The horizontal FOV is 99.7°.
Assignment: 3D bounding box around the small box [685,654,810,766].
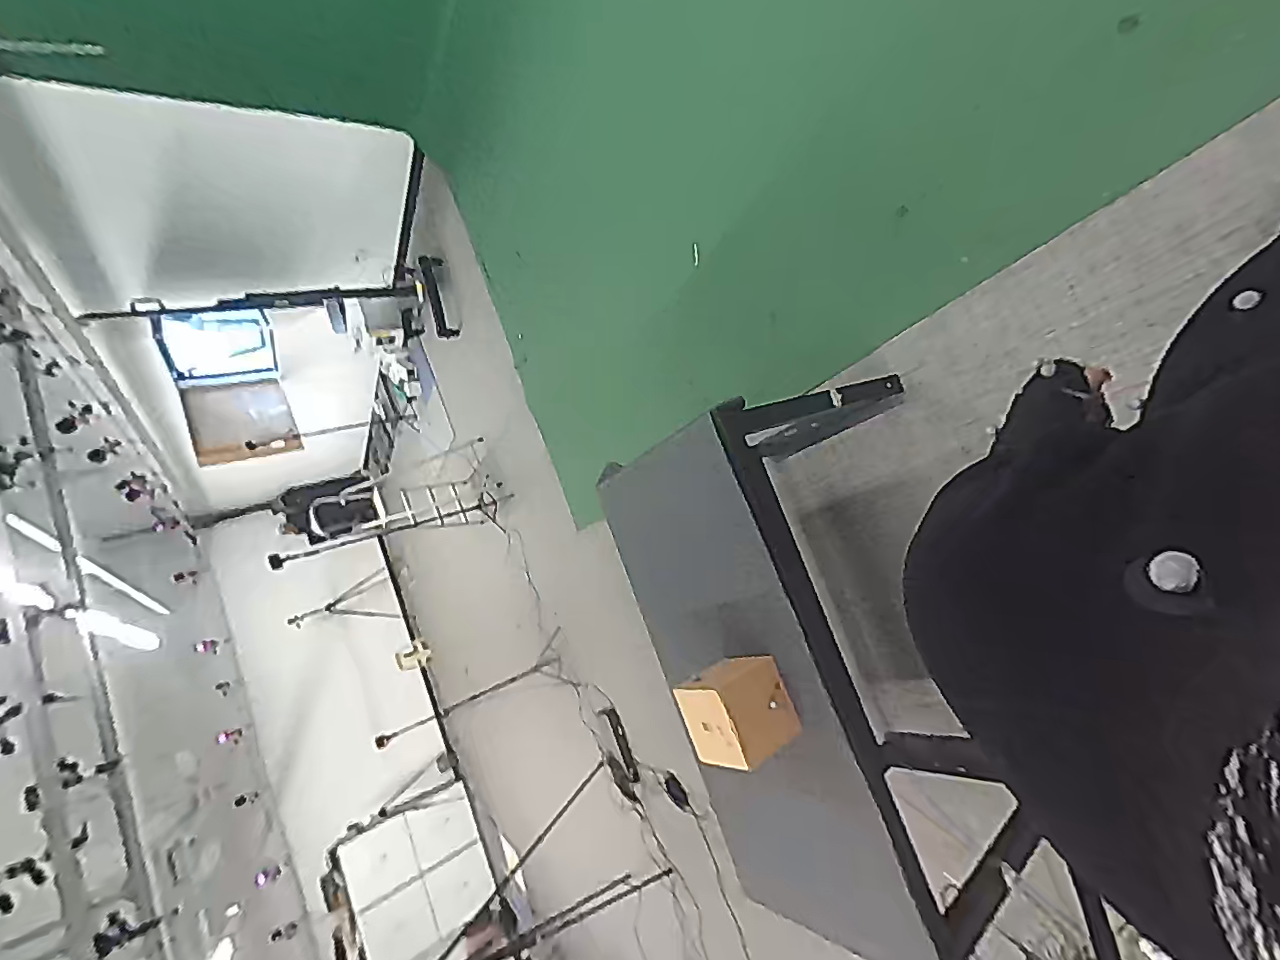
[{"bbox_3d":[0.234,0.495,1.186,0.179,0.176,0.168,-34,76,56],"label":"small box"}]
